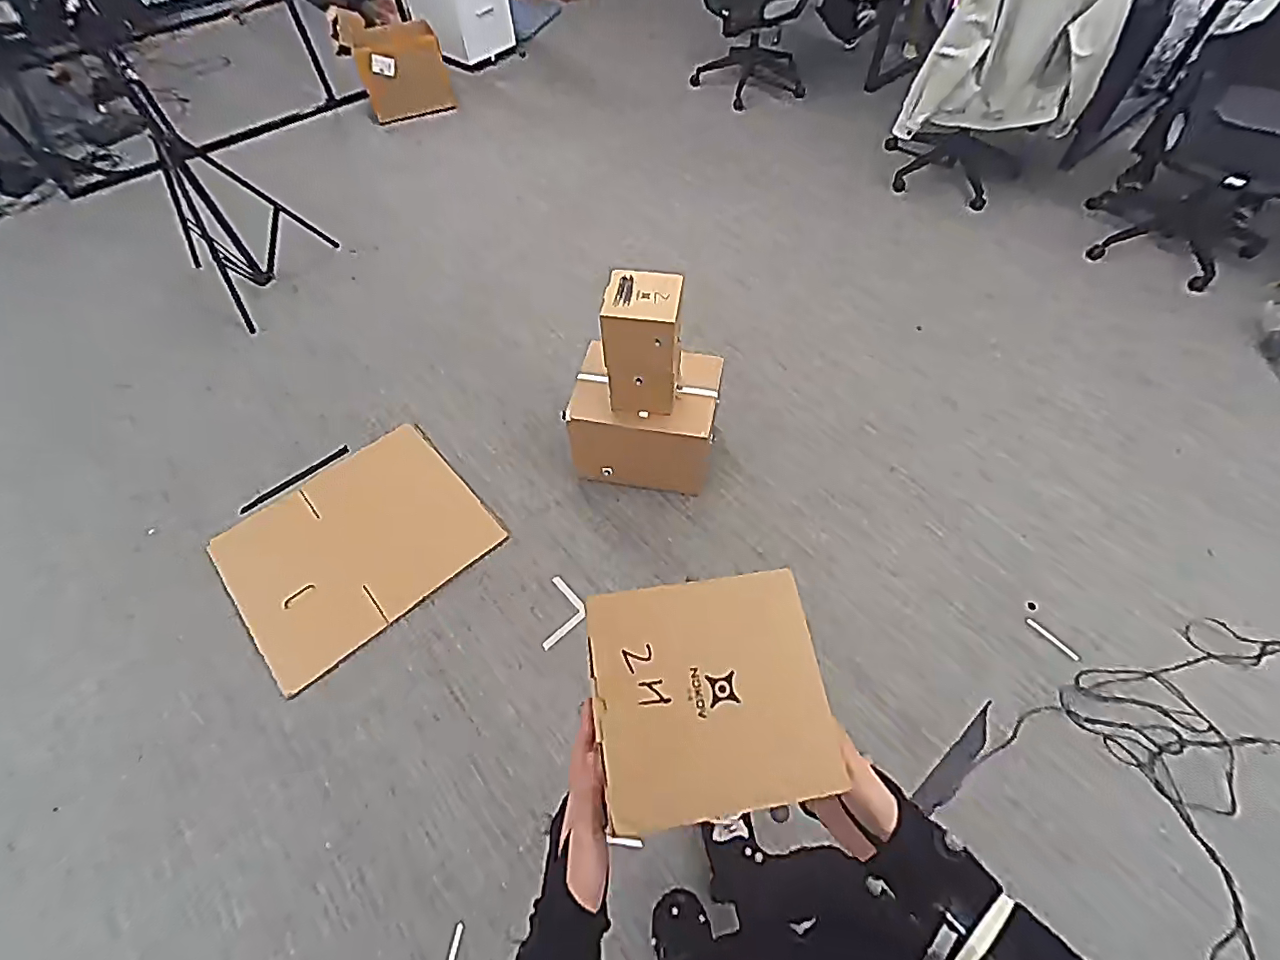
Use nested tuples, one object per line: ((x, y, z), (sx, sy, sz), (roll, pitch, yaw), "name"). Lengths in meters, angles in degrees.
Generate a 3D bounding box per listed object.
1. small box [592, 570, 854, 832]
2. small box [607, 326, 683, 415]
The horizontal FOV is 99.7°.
((0.052, 0.187, 0.478), (0.179, 0.176, 0.168), (-6, 67, -7), "small box")
((0.017, -0.292, 1.463), (0.179, 0.176, 0.168), (7, 59, 5), "small box")
